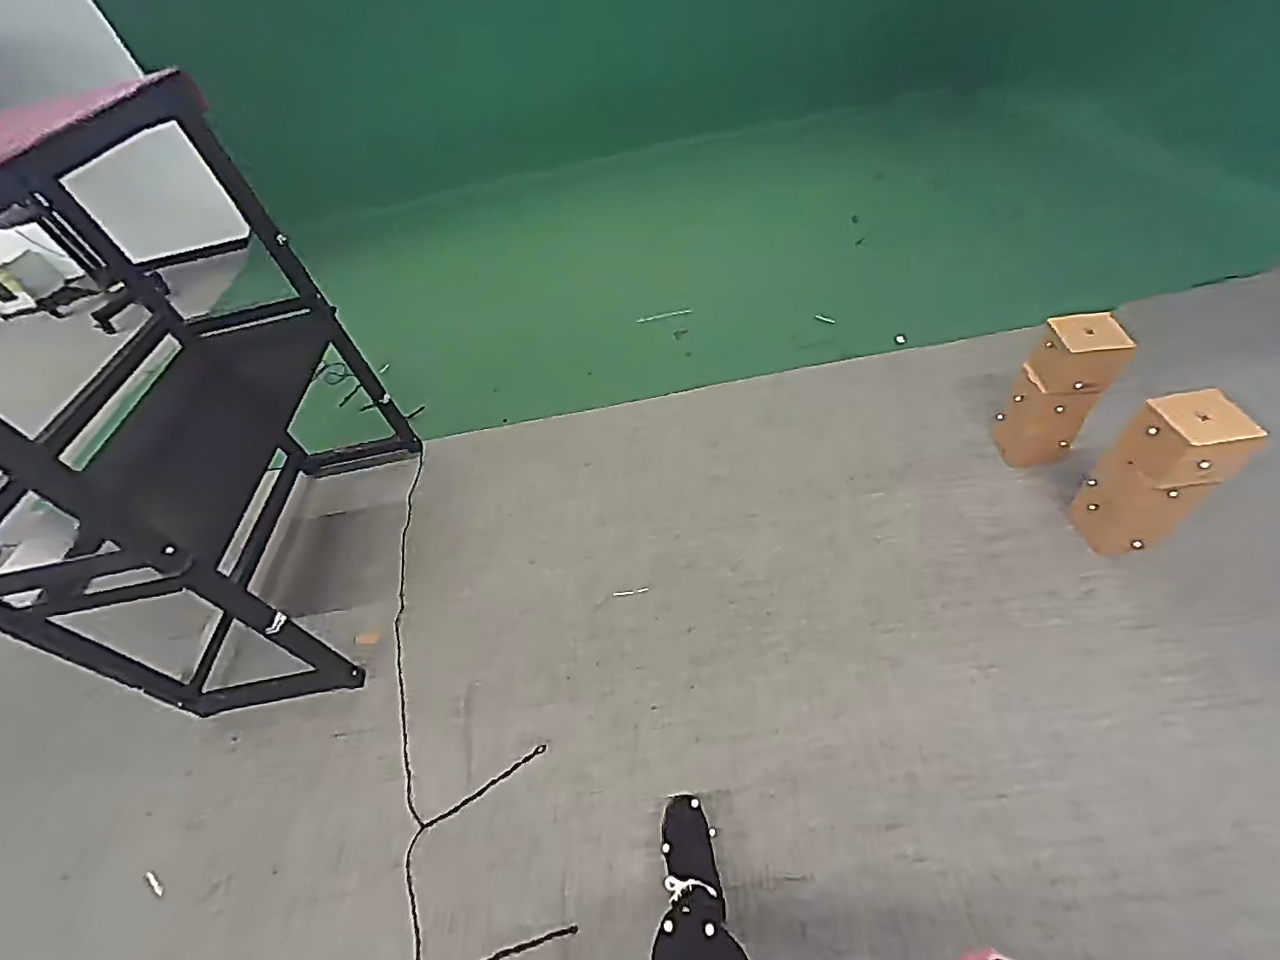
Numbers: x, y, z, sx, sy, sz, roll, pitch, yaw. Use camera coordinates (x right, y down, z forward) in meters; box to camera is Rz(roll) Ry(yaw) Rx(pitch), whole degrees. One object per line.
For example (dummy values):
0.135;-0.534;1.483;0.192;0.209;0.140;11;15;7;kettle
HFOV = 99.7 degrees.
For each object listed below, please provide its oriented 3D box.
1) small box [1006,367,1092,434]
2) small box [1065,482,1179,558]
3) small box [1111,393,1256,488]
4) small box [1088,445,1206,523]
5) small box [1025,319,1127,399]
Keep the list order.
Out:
1.349;-0.268;1.794;0.179;0.176;0.168;-7;49;9;small box
1.453;0.111;1.647;0.168;0.176;0.179;-10;47;5;small box
1.394;-0.095;1.403;0.168;0.176;0.179;-9;47;5;small box
1.420;0.005;1.526;0.179;0.176;0.168;-8;47;5;small box
1.329;-0.371;1.667;0.168;0.176;0.179;-3;48;11;small box
